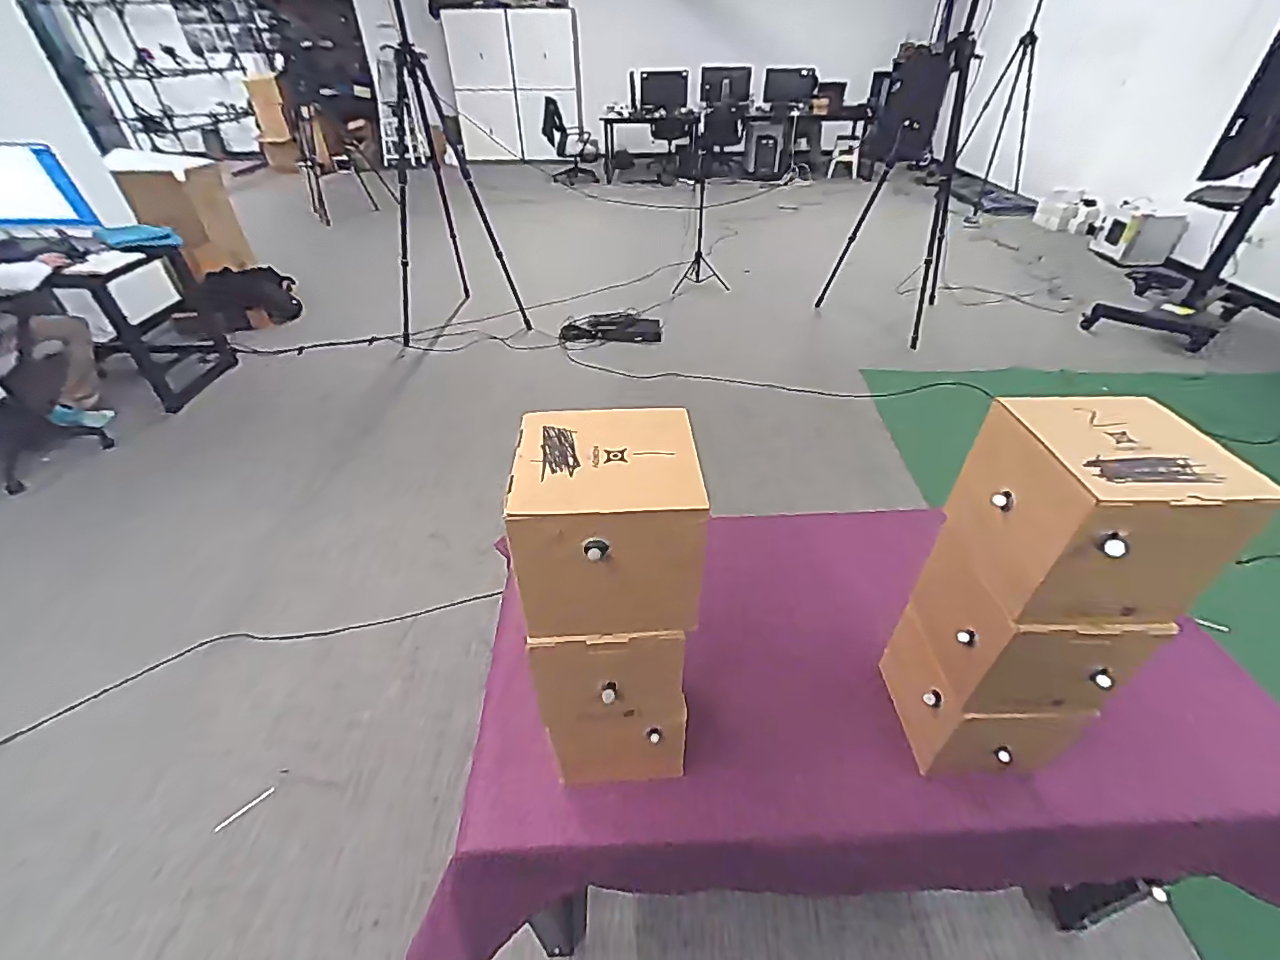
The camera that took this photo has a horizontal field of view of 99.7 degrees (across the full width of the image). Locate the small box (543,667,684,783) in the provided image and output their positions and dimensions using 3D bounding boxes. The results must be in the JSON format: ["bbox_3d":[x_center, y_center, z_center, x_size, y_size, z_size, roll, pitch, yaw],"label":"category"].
[{"bbox_3d":[-0.033,0.307,0.765,0.179,0.176,0.168,-2,38,-2],"label":"small box"}]

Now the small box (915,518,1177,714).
[{"bbox_3d":[0.467,0.165,0.661,0.168,0.176,0.179,0,38,2],"label":"small box"}]

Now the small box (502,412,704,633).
[{"bbox_3d":[-0.033,0.044,0.567,0.179,0.176,0.168,-2,38,-2],"label":"small box"}]

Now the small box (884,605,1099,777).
[{"bbox_3d":[0.470,0.296,0.759,0.168,0.176,0.179,-1,38,1],"label":"small box"}]

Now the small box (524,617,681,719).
[{"bbox_3d":[-0.040,0.176,0.666,0.168,0.176,0.179,-2,39,-3],"label":"small box"}]
